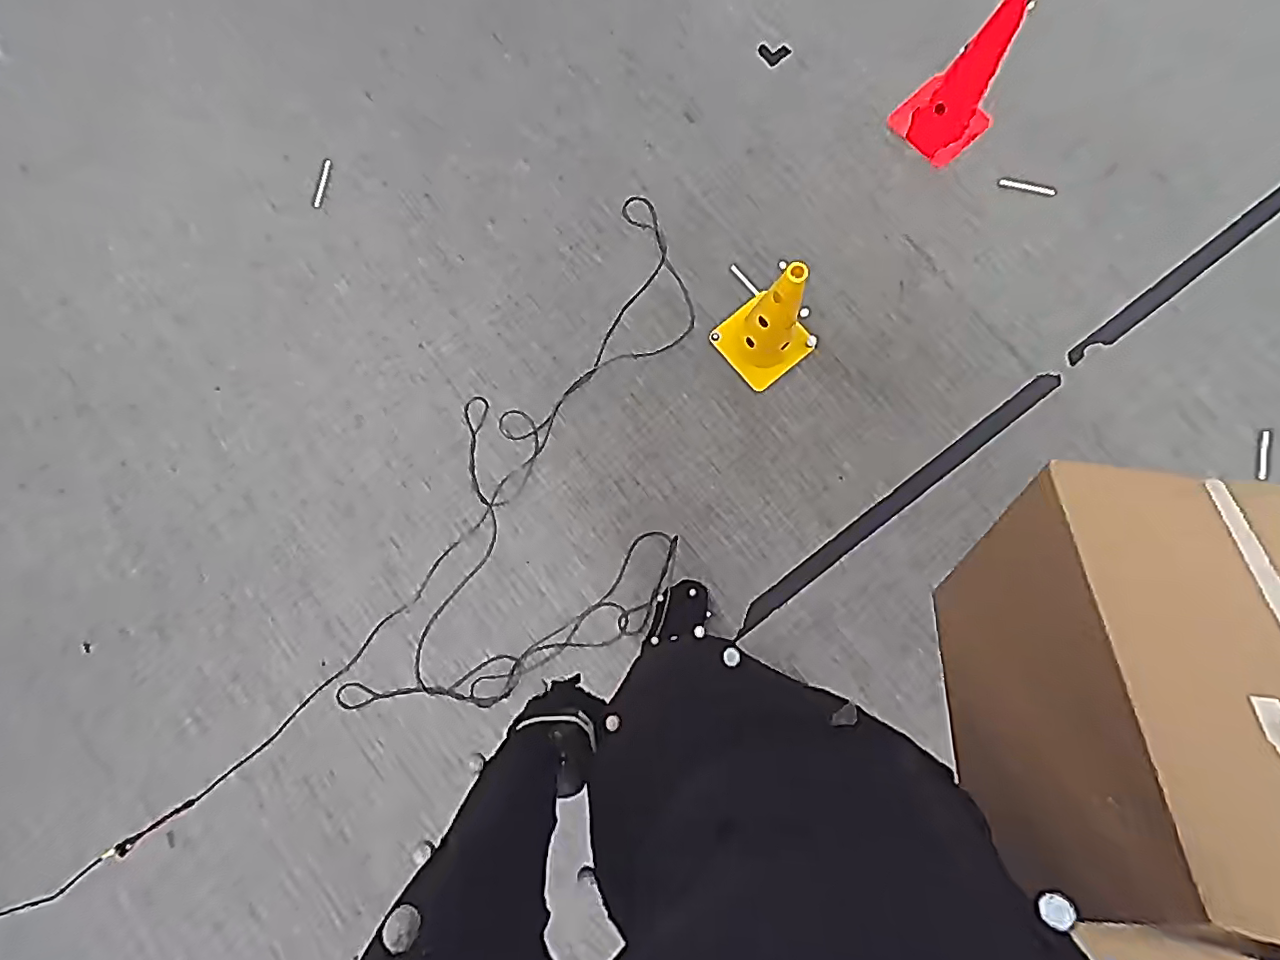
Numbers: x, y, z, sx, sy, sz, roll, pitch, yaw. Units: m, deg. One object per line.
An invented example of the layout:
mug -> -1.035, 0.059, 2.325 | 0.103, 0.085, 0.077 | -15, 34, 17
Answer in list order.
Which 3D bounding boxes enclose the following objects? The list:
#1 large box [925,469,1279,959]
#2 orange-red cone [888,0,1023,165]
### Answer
large box -> 0.545, 0.252, 0.572 | 0.320, 0.320, 0.408 | 8, 53, 7
orange-red cone -> 0.763, -0.952, 1.238 | 0.199, 0.360, 0.198 | -41, 83, -1
